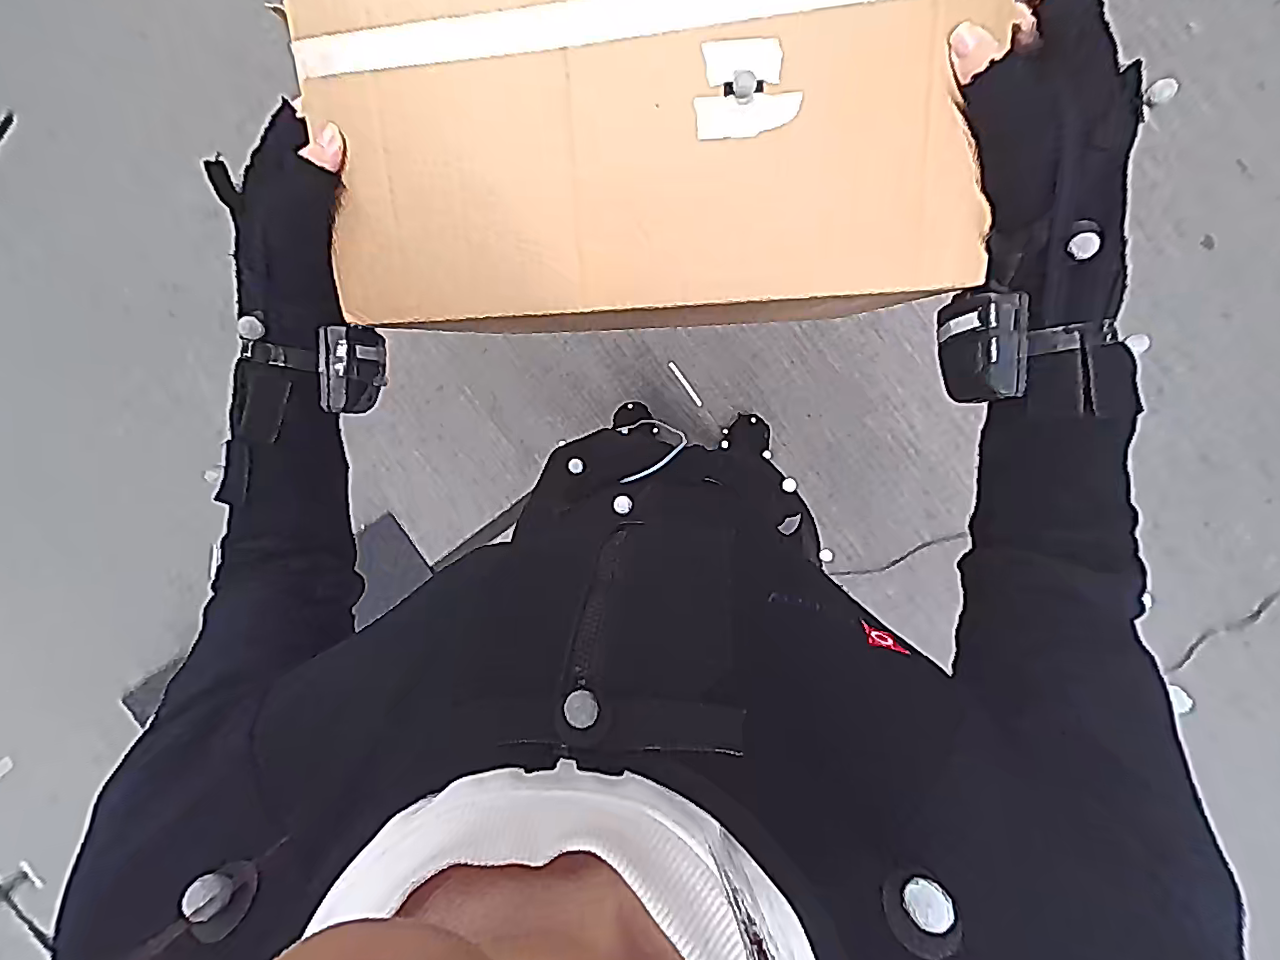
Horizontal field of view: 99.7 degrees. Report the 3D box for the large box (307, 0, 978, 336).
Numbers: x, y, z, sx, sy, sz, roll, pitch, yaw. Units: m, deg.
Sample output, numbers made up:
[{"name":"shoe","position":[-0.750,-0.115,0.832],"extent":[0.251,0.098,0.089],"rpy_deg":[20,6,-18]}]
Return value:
[{"name":"large box","position":[0.006,-0.304,0.465],"extent":[0.408,0.320,0.320],"rpy_deg":[-3,104,7]}]
